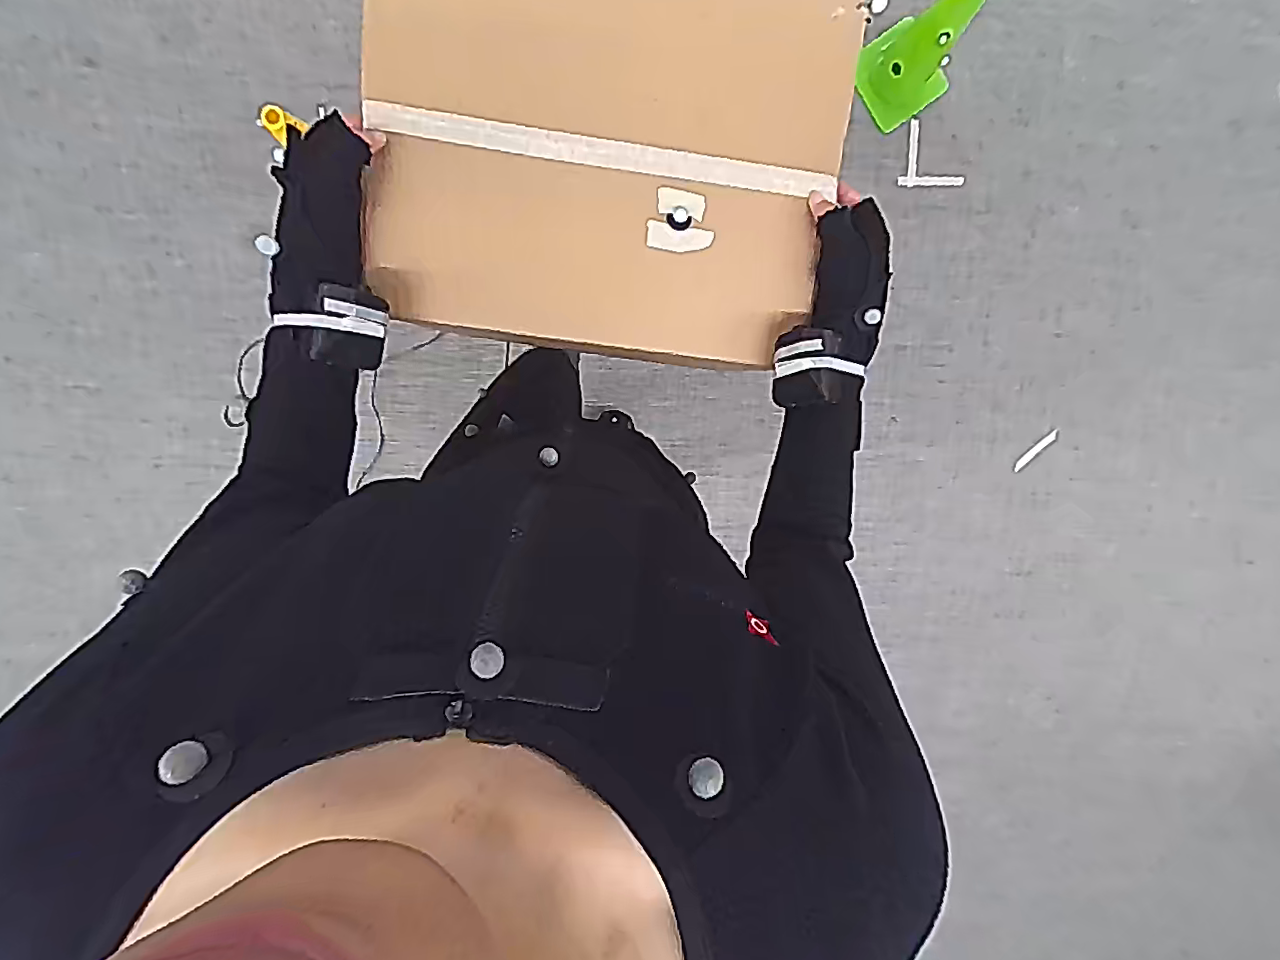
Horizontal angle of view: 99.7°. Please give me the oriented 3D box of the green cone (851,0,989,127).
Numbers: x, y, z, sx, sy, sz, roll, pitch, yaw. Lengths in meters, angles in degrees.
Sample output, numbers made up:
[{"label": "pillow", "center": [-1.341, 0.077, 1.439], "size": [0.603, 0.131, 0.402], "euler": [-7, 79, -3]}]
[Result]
[{"label": "green cone", "center": [0.657, -0.980, 1.165], "size": [0.202, 0.368, 0.200], "euler": [-36, 100, 2]}]

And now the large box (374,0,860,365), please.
[{"label": "large box", "center": [-0.037, -0.310, 0.614], "size": [0.408, 0.320, 0.320], "euler": [6, 101, -6]}]
